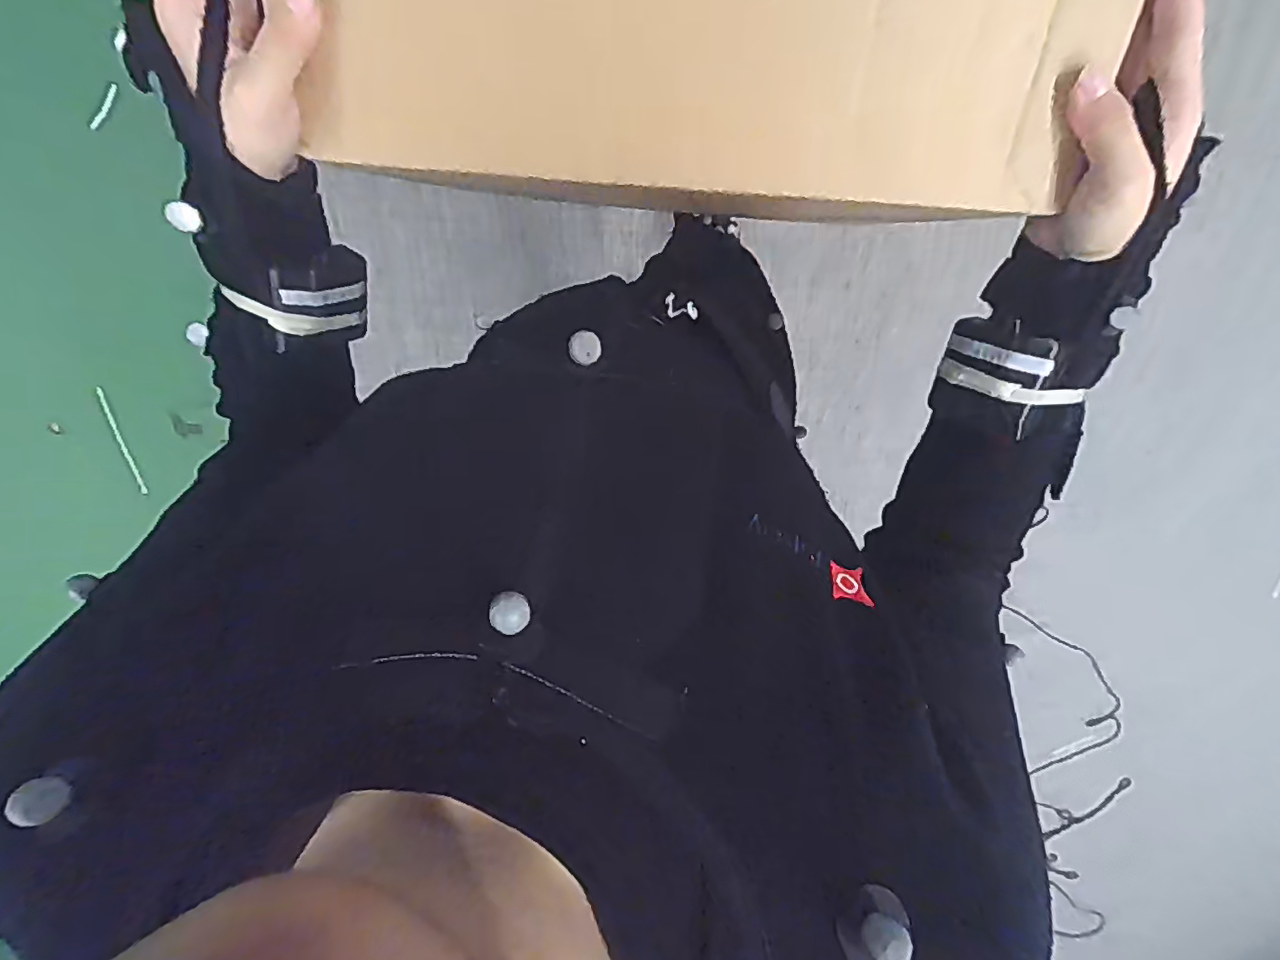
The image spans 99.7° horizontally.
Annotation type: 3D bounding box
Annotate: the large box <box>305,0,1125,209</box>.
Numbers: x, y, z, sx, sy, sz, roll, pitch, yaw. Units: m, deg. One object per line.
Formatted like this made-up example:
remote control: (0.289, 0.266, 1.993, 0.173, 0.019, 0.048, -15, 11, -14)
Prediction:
large box: (0.041, -0.369, 0.364, 0.408, 0.320, 0.320, 4, 115, 1)
